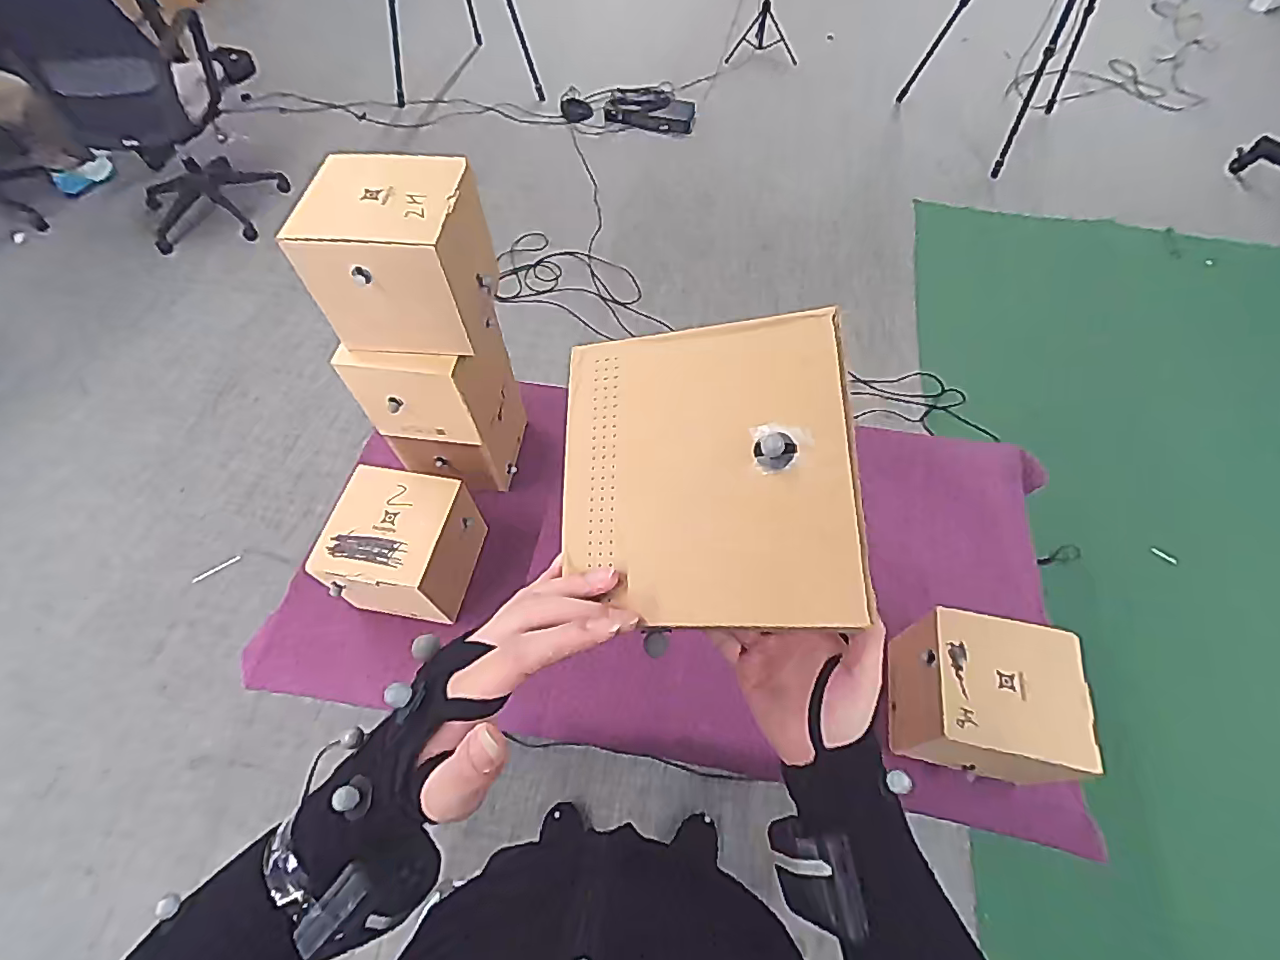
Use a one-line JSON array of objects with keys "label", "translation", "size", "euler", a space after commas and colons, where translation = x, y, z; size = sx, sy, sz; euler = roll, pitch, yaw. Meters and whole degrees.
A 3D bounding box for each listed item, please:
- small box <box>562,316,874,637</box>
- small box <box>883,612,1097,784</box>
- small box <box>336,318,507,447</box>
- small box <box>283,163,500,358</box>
[{"label": "small box", "translation": [0.056, 0.016, 0.376], "size": [0.176, 0.168, 0.179], "euler": [-4, 73, 18]}, {"label": "small box", "translation": [0.451, 0.299, 0.729], "size": [0.179, 0.176, 0.168], "euler": [12, 58, 7]}, {"label": "small box", "translation": [-0.311, -0.168, 0.816], "size": [0.168, 0.176, 0.179], "euler": [6, 59, 3]}, {"label": "small box", "translation": [-0.295, -0.273, 0.688], "size": [0.179, 0.176, 0.168], "euler": [4, 59, 1]}]
